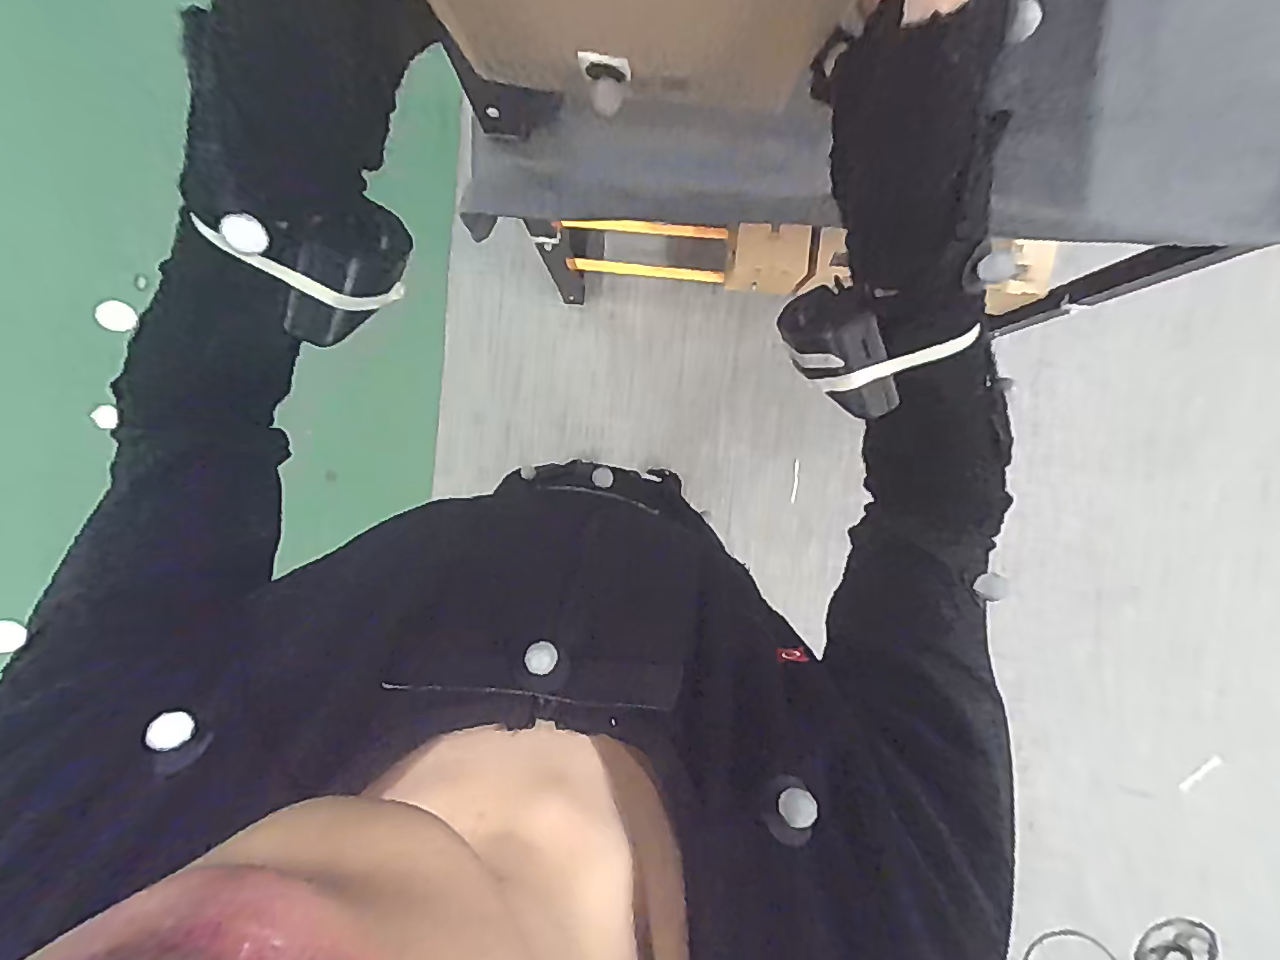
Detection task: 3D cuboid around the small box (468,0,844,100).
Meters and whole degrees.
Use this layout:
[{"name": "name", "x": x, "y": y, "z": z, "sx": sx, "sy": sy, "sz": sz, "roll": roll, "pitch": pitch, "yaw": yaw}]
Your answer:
[{"name": "small box", "x": 0.006, "y": -0.274, "z": 0.194, "sx": 0.168, "sy": 0.176, "sz": 0.179, "roll": 4, "pitch": 107, "yaw": 0}]
